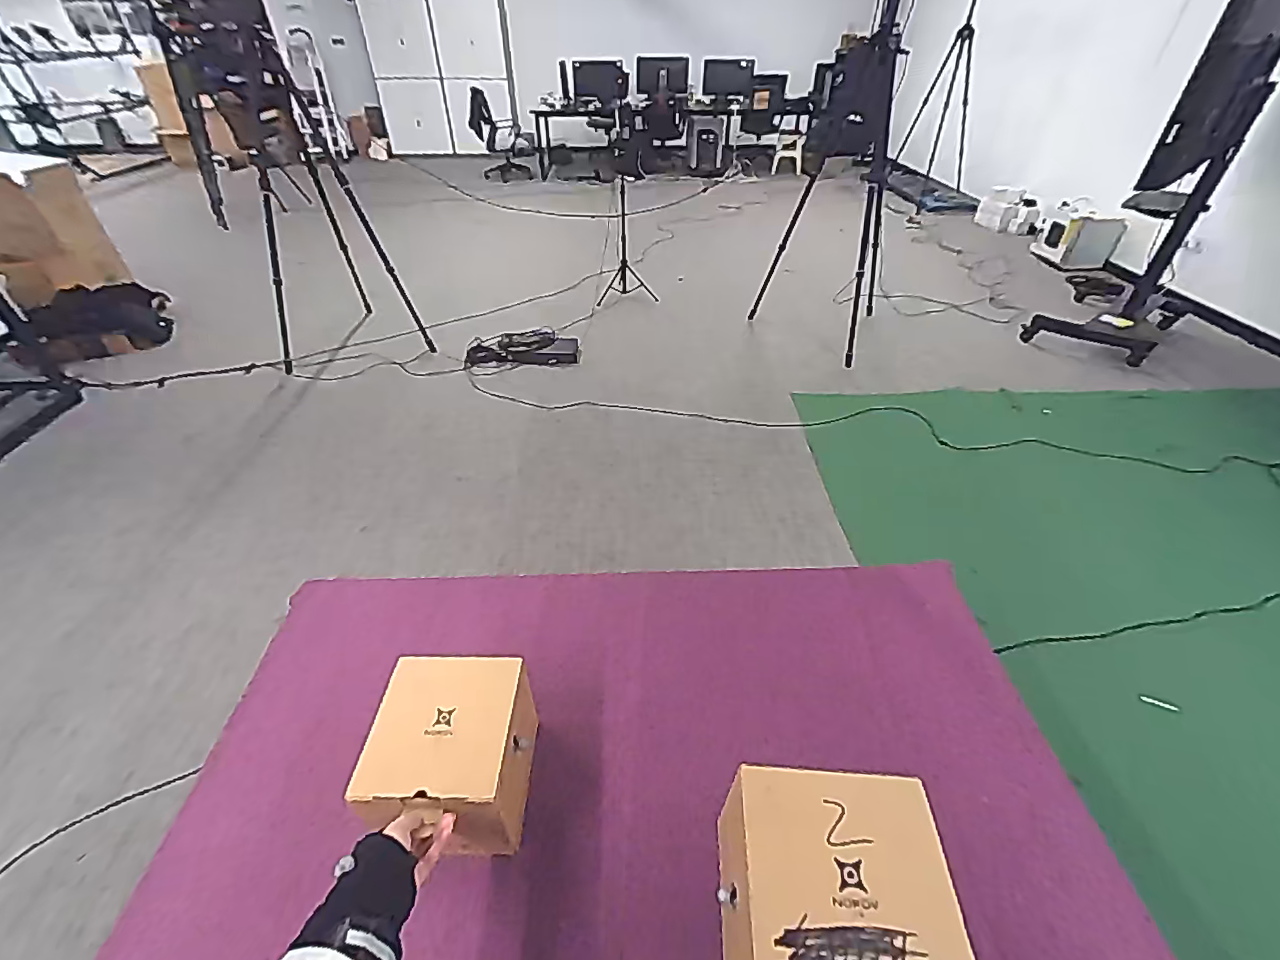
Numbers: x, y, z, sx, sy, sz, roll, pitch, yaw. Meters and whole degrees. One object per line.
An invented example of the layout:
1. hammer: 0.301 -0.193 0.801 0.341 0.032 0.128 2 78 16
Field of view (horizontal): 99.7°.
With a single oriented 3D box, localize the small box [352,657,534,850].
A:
1. small box: -0.240 0.358 0.715 0.168 0.176 0.179 0 40 0
